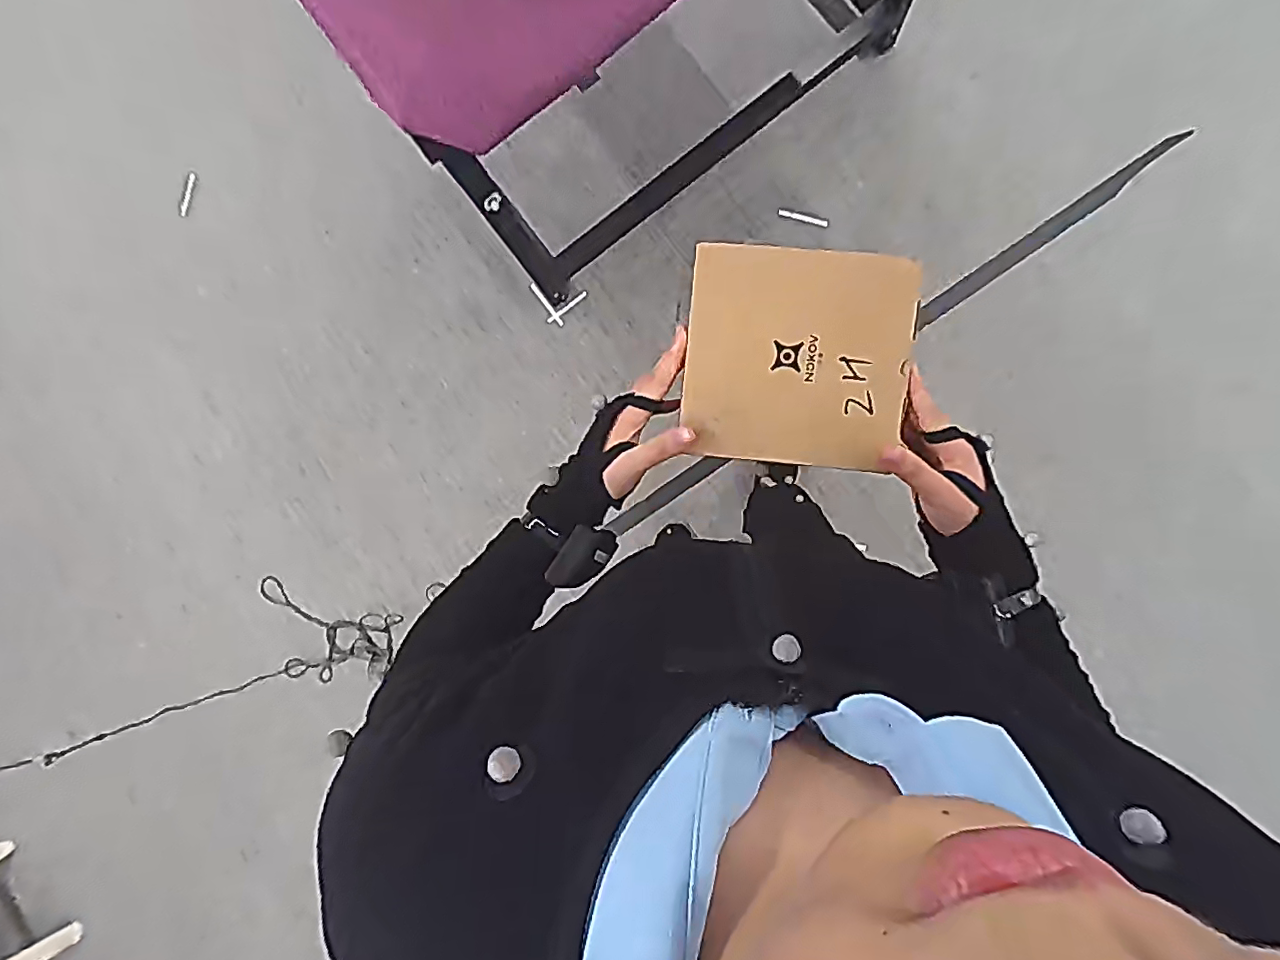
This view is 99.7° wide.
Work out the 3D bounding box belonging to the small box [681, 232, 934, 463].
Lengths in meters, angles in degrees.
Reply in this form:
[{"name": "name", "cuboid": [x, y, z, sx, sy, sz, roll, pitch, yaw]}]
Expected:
[{"name": "small box", "cuboid": [0.133, -0.111, 0.498, 0.179, 0.176, 0.168, 6, 97, 3]}]
